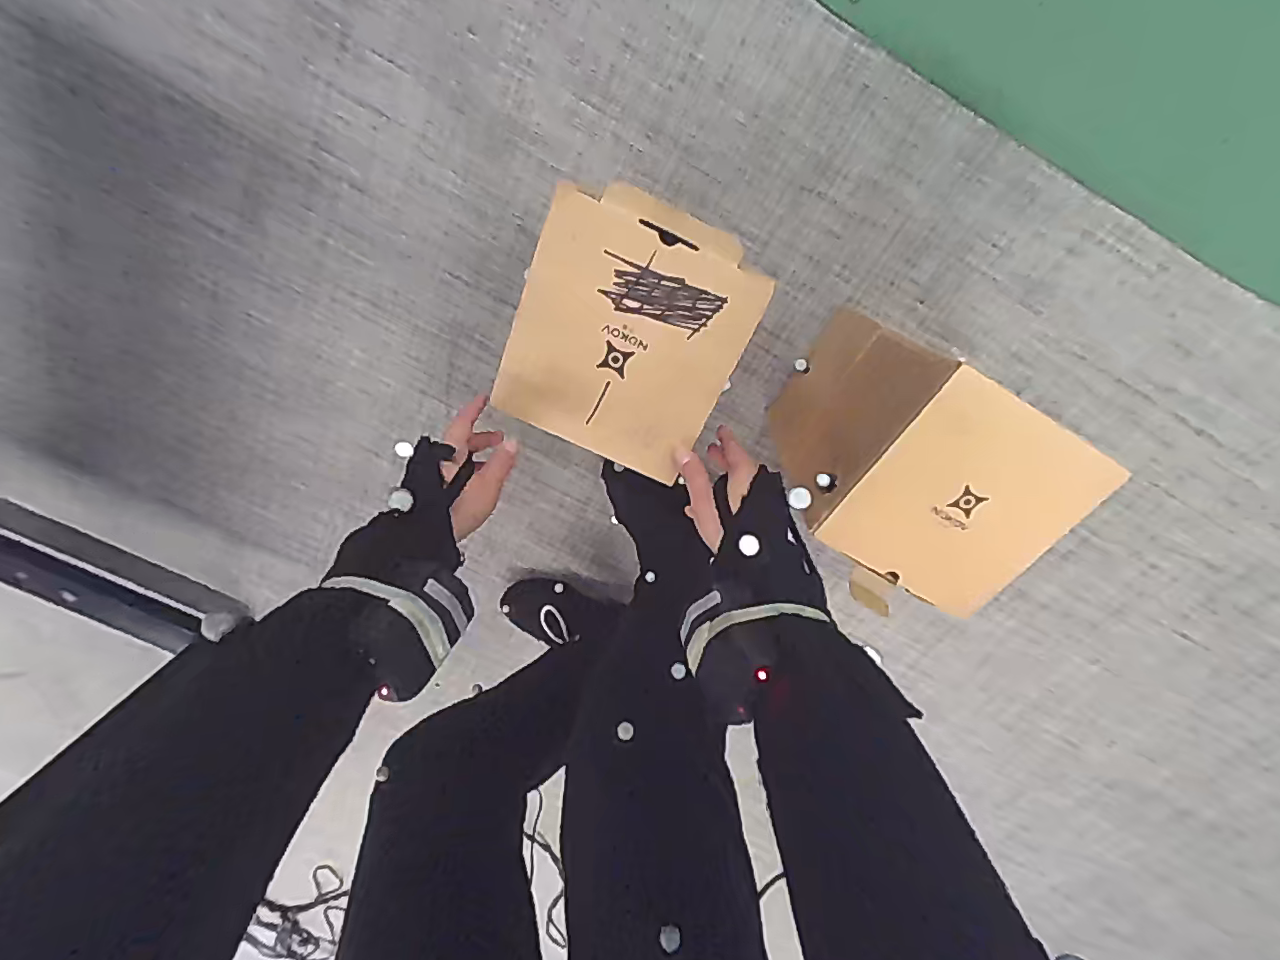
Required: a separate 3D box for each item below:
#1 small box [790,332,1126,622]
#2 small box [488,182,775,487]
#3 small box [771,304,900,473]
[{"bbox_3d":[0.260,-0.013,0.497,0.168,0.176,0.179,29,115,-8],"label":"small box"},{"bbox_3d":[-0.006,-0.130,0.471,0.168,0.176,0.179,24,116,-4],"label":"small box"},{"bbox_3d":[0.272,-0.083,0.645,0.168,0.176,0.179,28,116,-8],"label":"small box"}]
